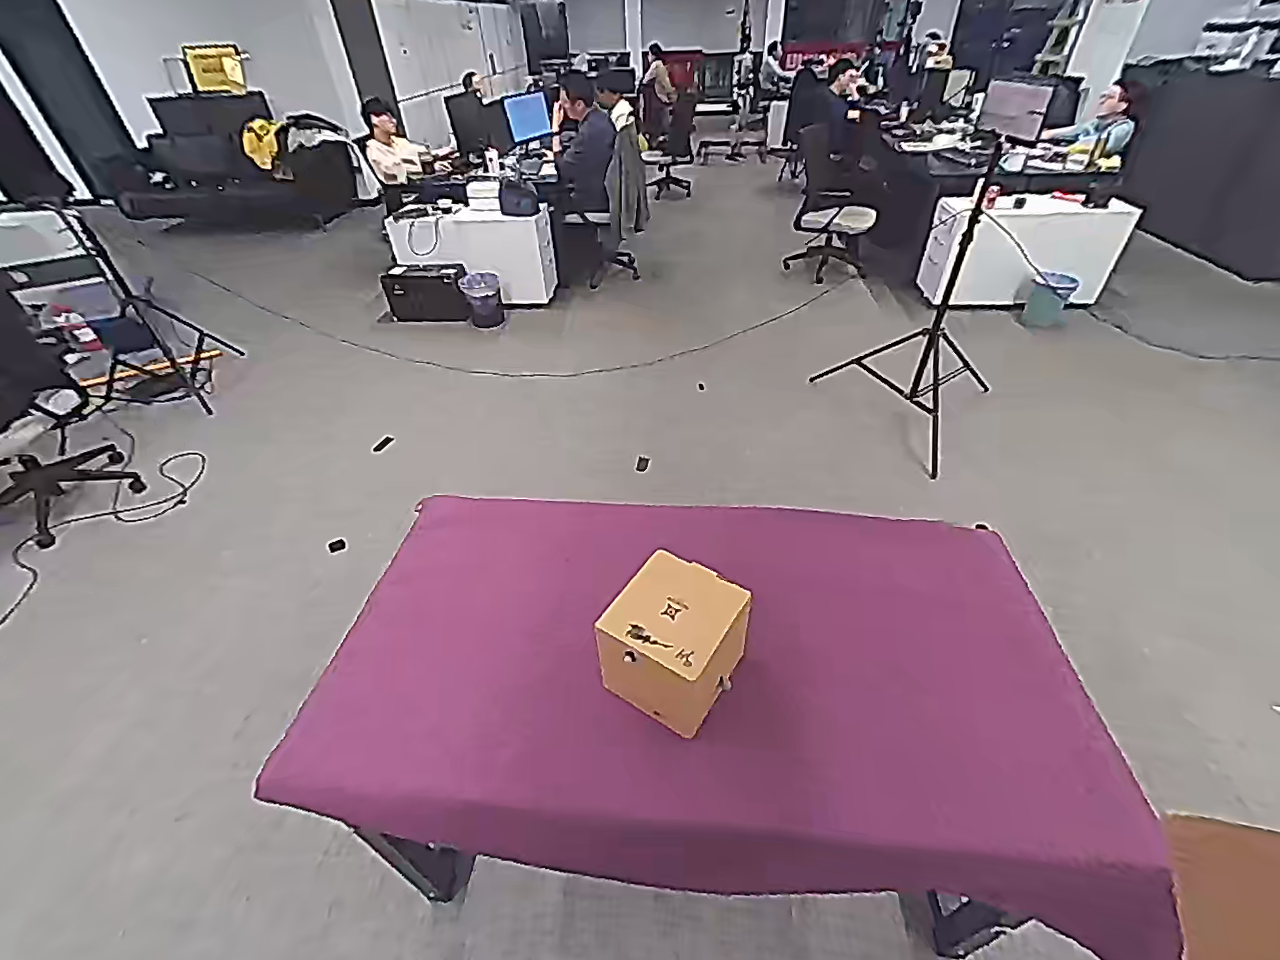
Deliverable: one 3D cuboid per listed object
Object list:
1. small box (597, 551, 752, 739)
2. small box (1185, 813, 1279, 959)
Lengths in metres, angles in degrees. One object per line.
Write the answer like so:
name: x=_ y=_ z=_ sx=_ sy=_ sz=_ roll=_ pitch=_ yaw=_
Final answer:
small box: x=0.051 y=0.248 z=0.827 sx=0.168 sy=0.176 sz=0.179 roll=22 pitch=45 yaw=27
small box: x=0.436 y=0.284 z=0.275 sx=0.168 sy=0.179 sz=0.176 roll=2 pitch=66 yaw=19
